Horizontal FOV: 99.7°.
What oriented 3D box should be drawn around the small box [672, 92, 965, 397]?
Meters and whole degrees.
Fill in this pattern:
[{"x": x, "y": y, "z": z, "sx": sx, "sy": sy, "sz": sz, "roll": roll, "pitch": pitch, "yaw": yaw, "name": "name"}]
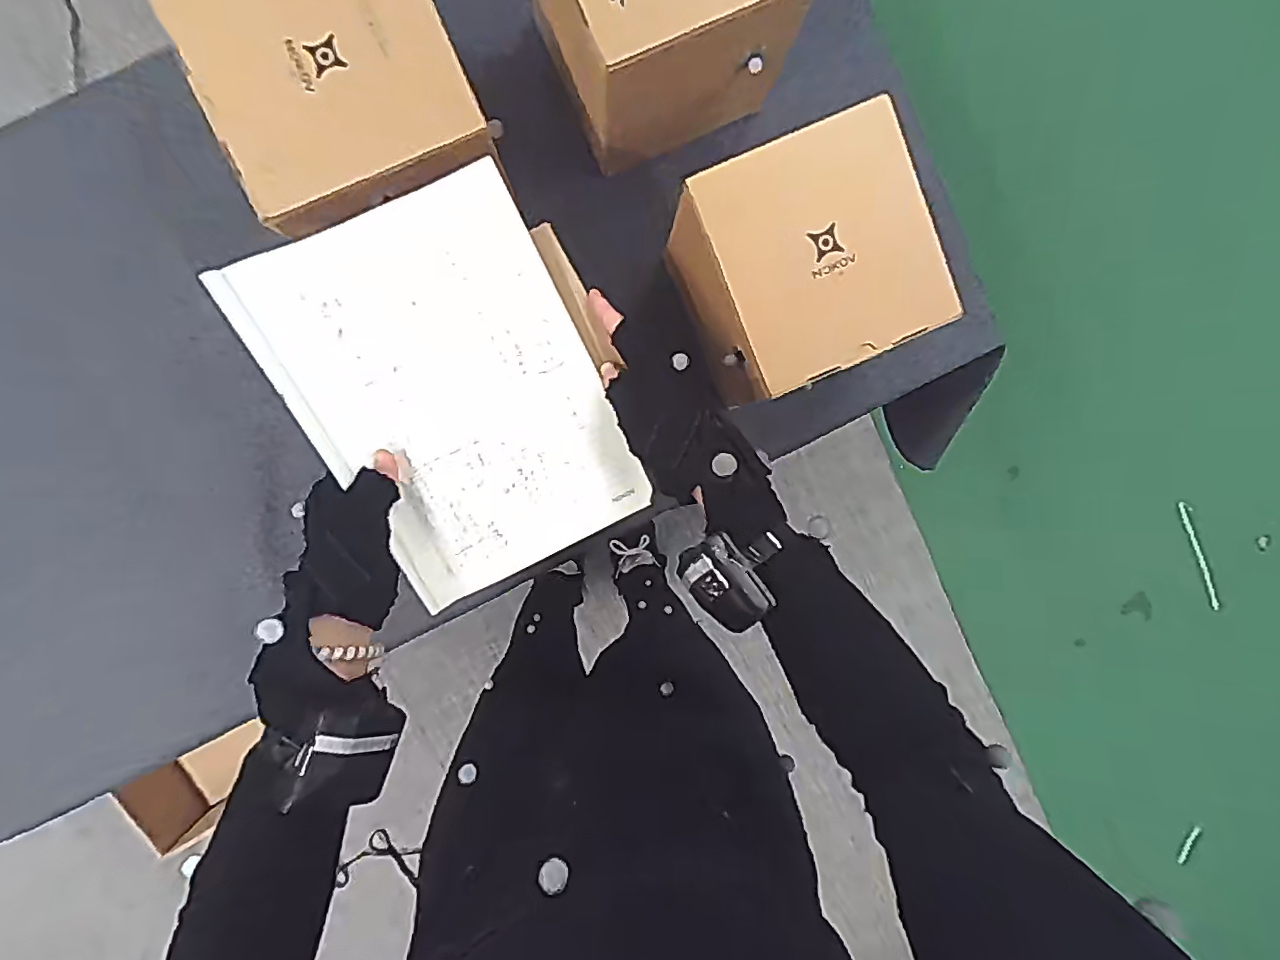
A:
[{"x": 0.139, "y": -0.186, "z": 0.485, "sx": 0.168, "sy": 0.176, "sz": 0.179, "roll": -23, "pitch": 96, "yaw": -2, "name": "small box"}]
